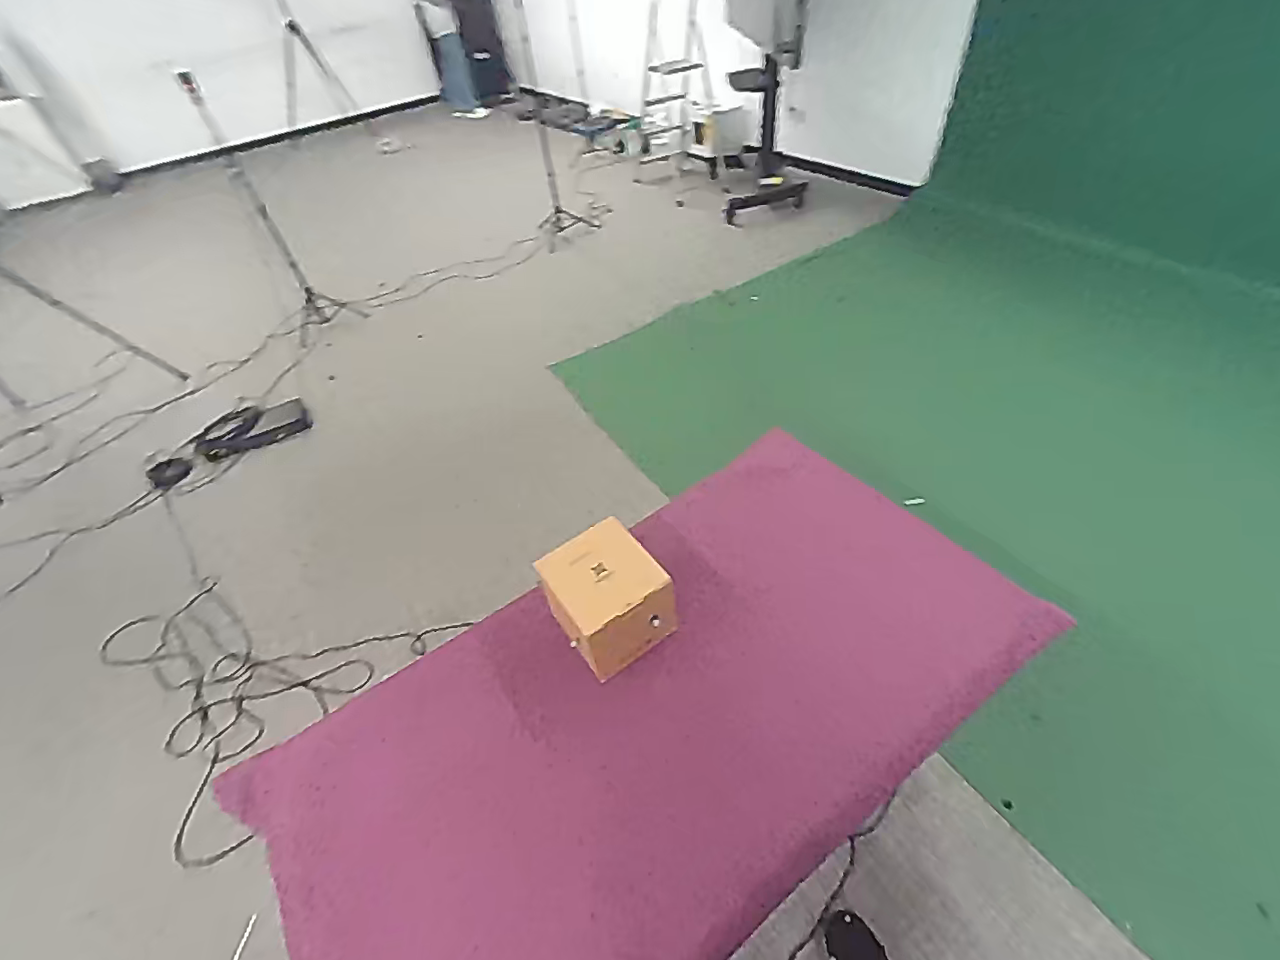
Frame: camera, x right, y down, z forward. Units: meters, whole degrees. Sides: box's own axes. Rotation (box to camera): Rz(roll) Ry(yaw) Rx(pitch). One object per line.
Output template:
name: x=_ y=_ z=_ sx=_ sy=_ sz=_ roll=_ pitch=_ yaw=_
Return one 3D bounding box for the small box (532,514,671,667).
small box: x=-0.060 y=0.200 z=0.945 sx=0.168 sy=0.176 sz=0.179 roll=-31 pitch=50 yaw=-20
